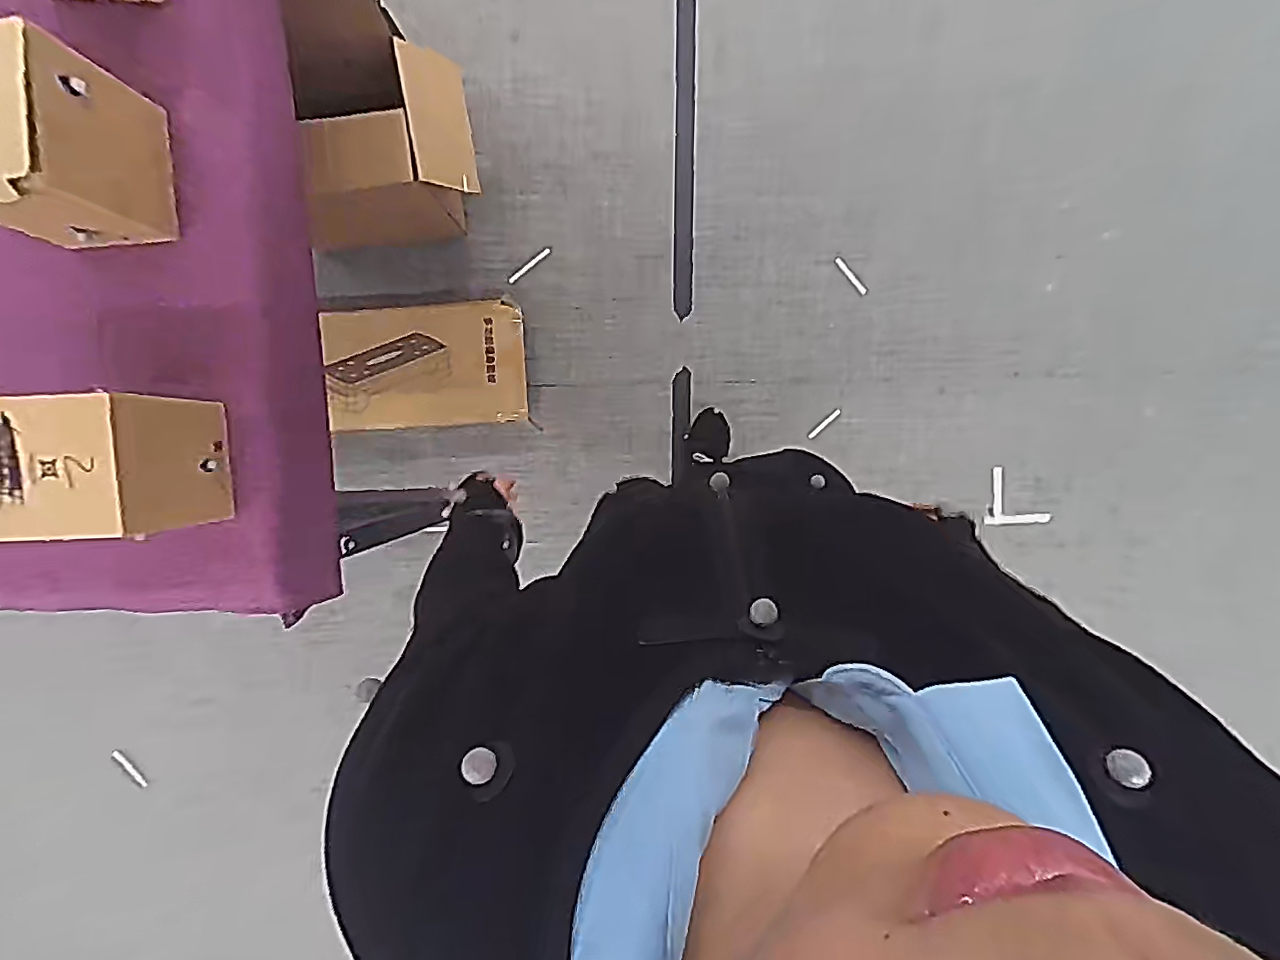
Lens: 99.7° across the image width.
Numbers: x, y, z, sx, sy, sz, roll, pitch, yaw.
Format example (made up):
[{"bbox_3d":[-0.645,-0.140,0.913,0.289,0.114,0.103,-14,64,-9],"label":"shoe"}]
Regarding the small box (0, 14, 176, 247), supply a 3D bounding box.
[{"bbox_3d":[-0.720,-0.407,0.659,0.168,0.176,0.179,-2,94,4],"label":"small box"}]
